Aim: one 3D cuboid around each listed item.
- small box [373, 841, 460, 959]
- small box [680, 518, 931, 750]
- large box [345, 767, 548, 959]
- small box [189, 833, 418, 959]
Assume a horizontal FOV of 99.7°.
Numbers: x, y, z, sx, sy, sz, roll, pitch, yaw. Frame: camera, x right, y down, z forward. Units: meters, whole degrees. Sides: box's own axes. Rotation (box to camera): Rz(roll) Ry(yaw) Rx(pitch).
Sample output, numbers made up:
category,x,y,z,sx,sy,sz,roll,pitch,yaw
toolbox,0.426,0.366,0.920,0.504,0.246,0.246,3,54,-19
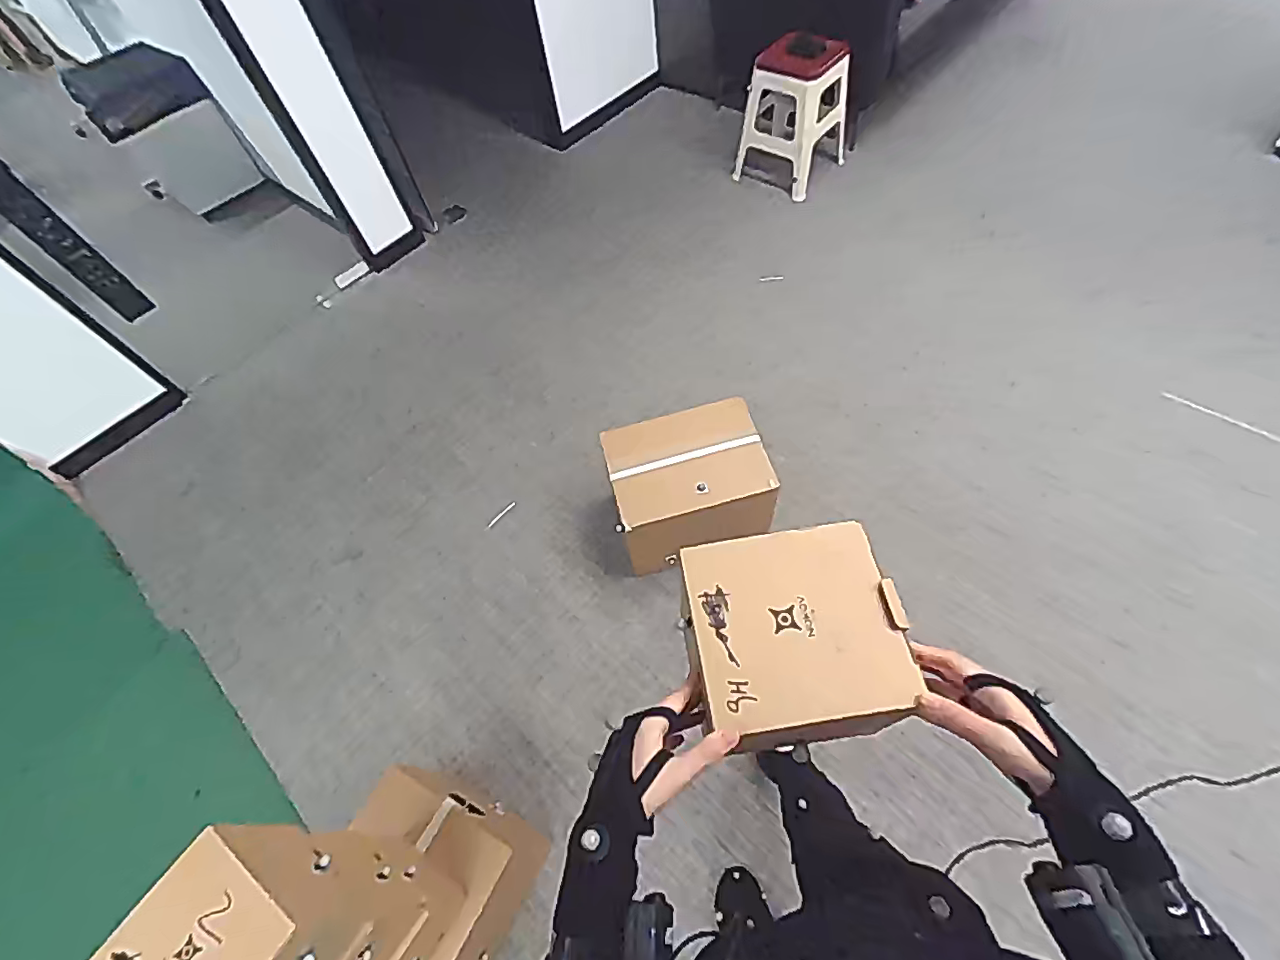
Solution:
category,x,y,z,sx,sy,sz,roll,pitch,yaw
small box,-0.426,0.713,0.872,0.179,0.176,0.168,28,64,21
small box,0.137,0.156,0.528,0.179,0.176,0.168,-7,56,-1
large box,-0.442,0.852,1.078,0.320,0.320,0.408,21,64,20
small box,-0.445,0.622,0.739,0.168,0.176,0.179,29,64,22
